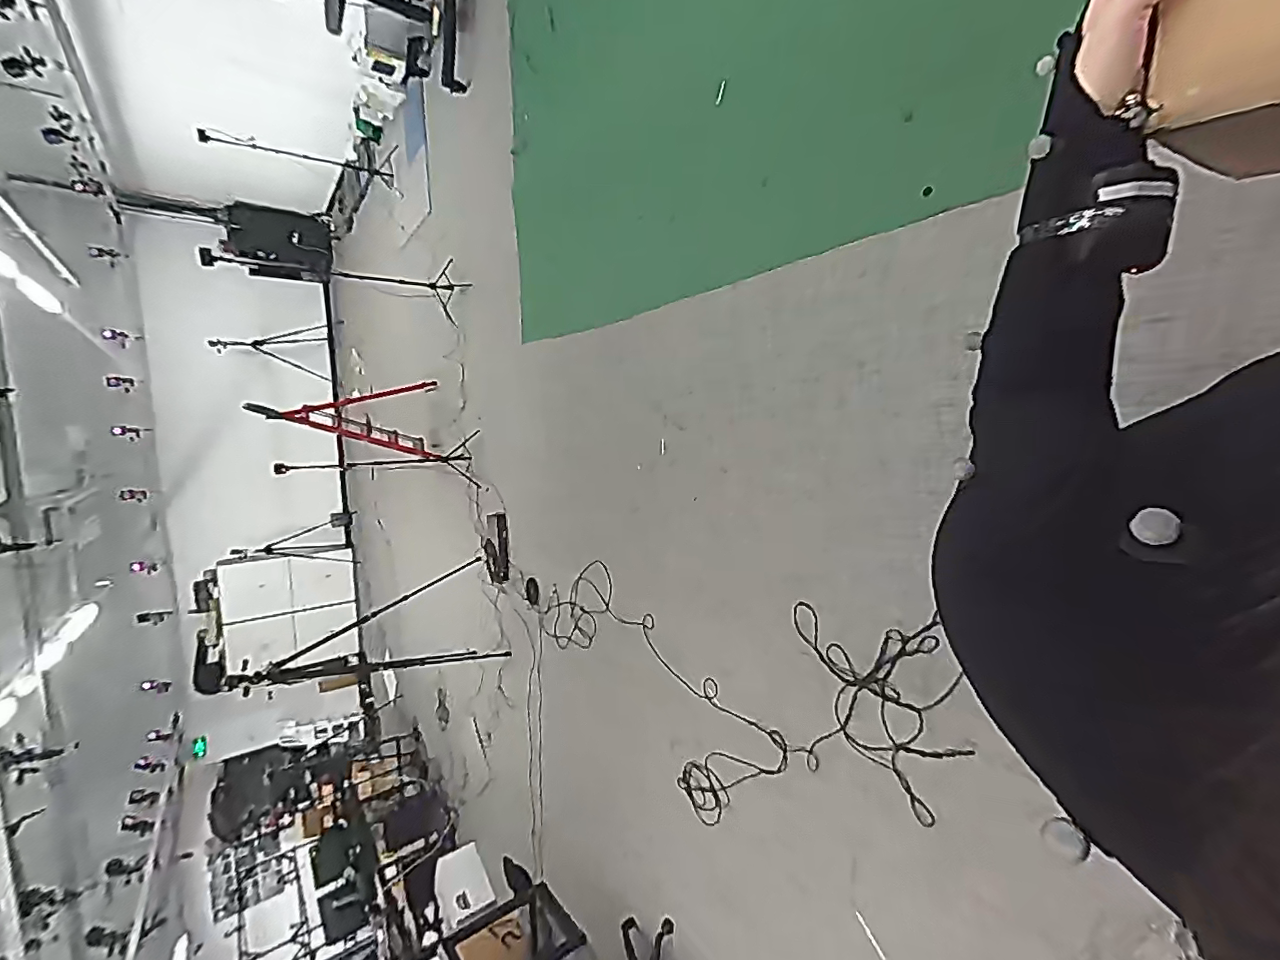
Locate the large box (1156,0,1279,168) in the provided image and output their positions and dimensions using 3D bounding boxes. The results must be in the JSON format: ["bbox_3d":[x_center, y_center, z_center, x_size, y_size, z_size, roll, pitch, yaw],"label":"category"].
[{"bbox_3d":[0.593,-0.397,0.272,0.408,0.320,0.320,16,114,54],"label":"large box"}]
